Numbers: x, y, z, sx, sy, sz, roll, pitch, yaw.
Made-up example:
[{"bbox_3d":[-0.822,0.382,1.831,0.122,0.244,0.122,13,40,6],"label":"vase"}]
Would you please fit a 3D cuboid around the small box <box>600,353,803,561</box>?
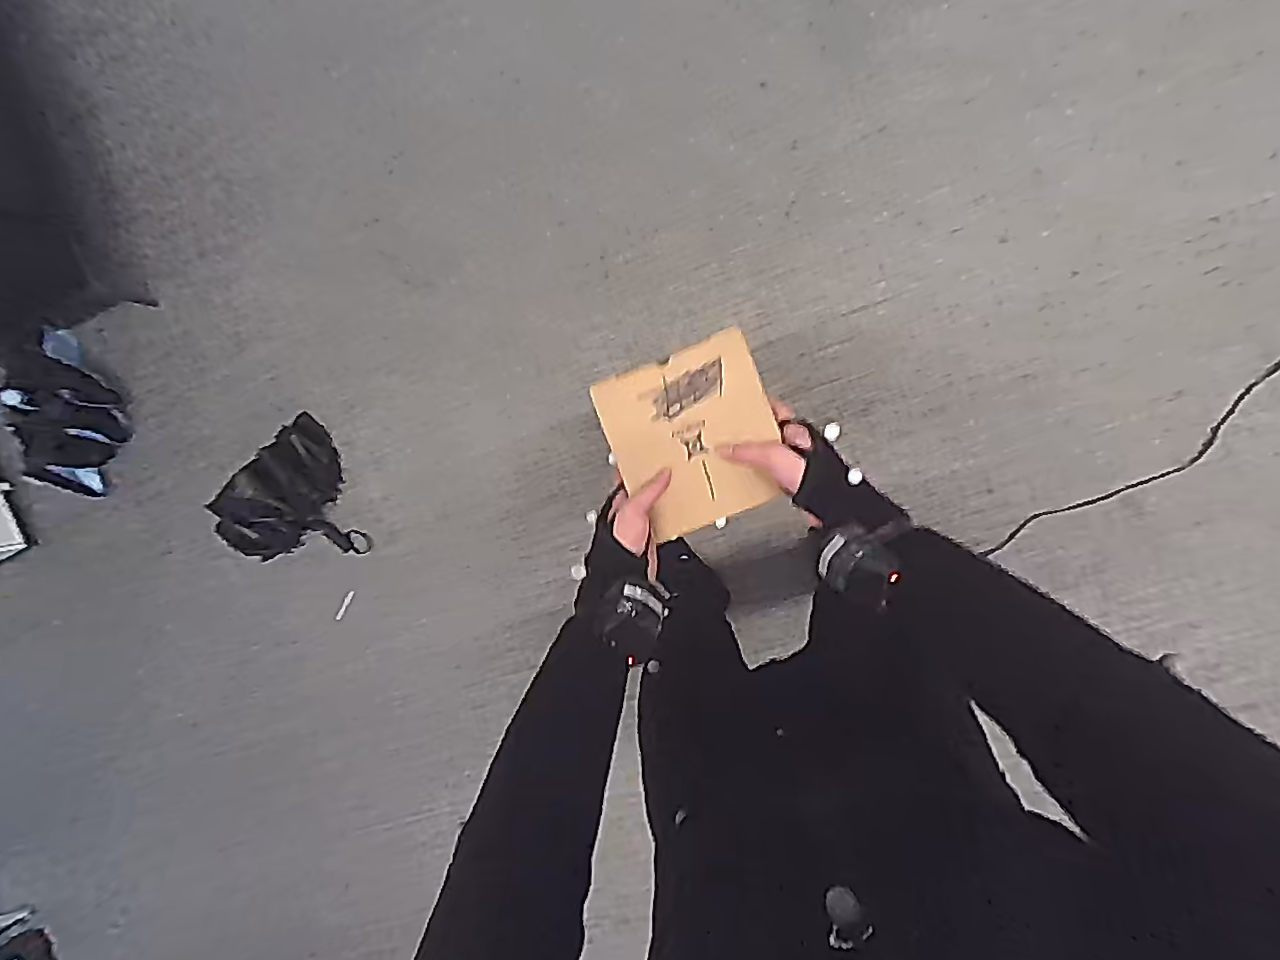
[{"bbox_3d":[0.069,-0.021,0.633,0.168,0.176,0.179,-21,87,7],"label":"small box"}]
